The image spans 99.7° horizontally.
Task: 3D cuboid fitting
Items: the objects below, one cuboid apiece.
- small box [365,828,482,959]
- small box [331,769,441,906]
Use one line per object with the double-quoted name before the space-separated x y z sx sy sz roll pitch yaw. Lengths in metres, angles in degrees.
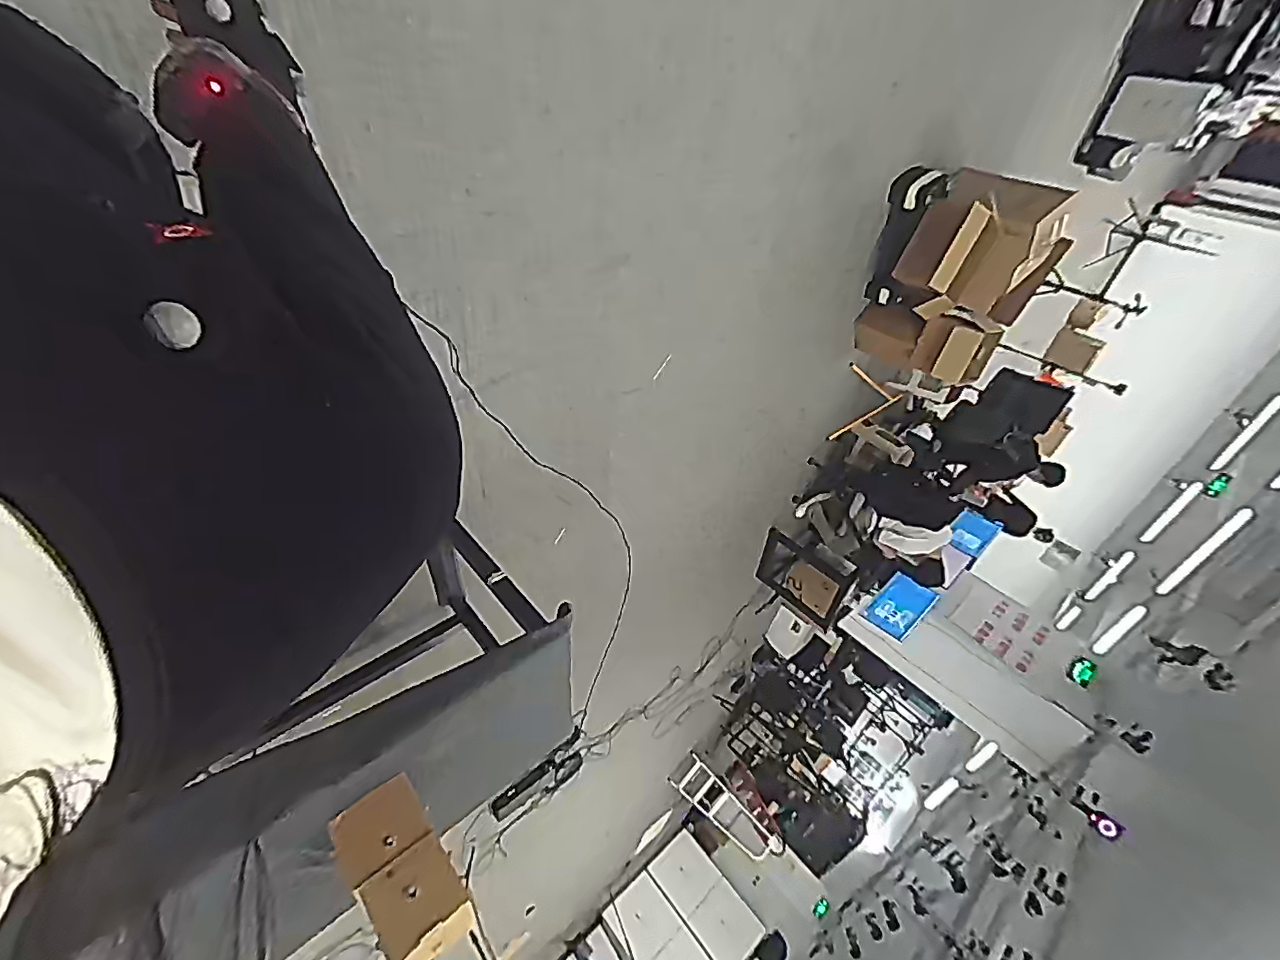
"small box" -0.458 0.887 1.147 0.168 0.176 0.179 -26 138 -35
"small box" -0.571 0.807 1.235 0.179 0.176 0.168 -26 138 -34
